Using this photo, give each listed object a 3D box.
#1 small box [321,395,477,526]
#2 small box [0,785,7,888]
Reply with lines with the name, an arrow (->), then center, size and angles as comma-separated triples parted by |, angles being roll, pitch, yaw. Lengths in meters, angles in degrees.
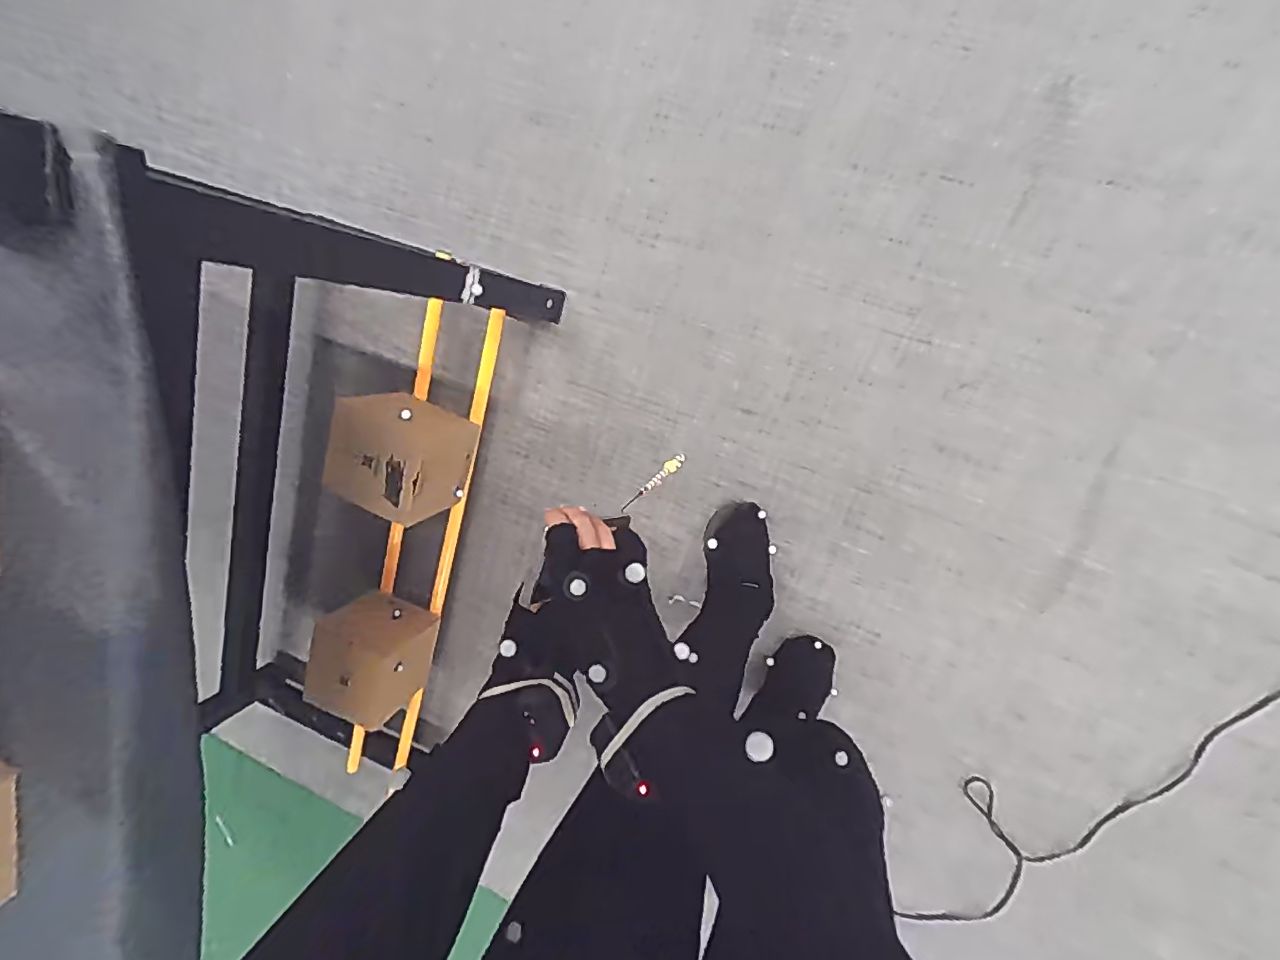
small box -> -0.418, -0.046, 0.960 | 0.179, 0.176, 0.168 | 24, 107, 9
small box -> -0.707, 0.331, 0.462 | 0.168, 0.176, 0.179 | 23, 108, 9
